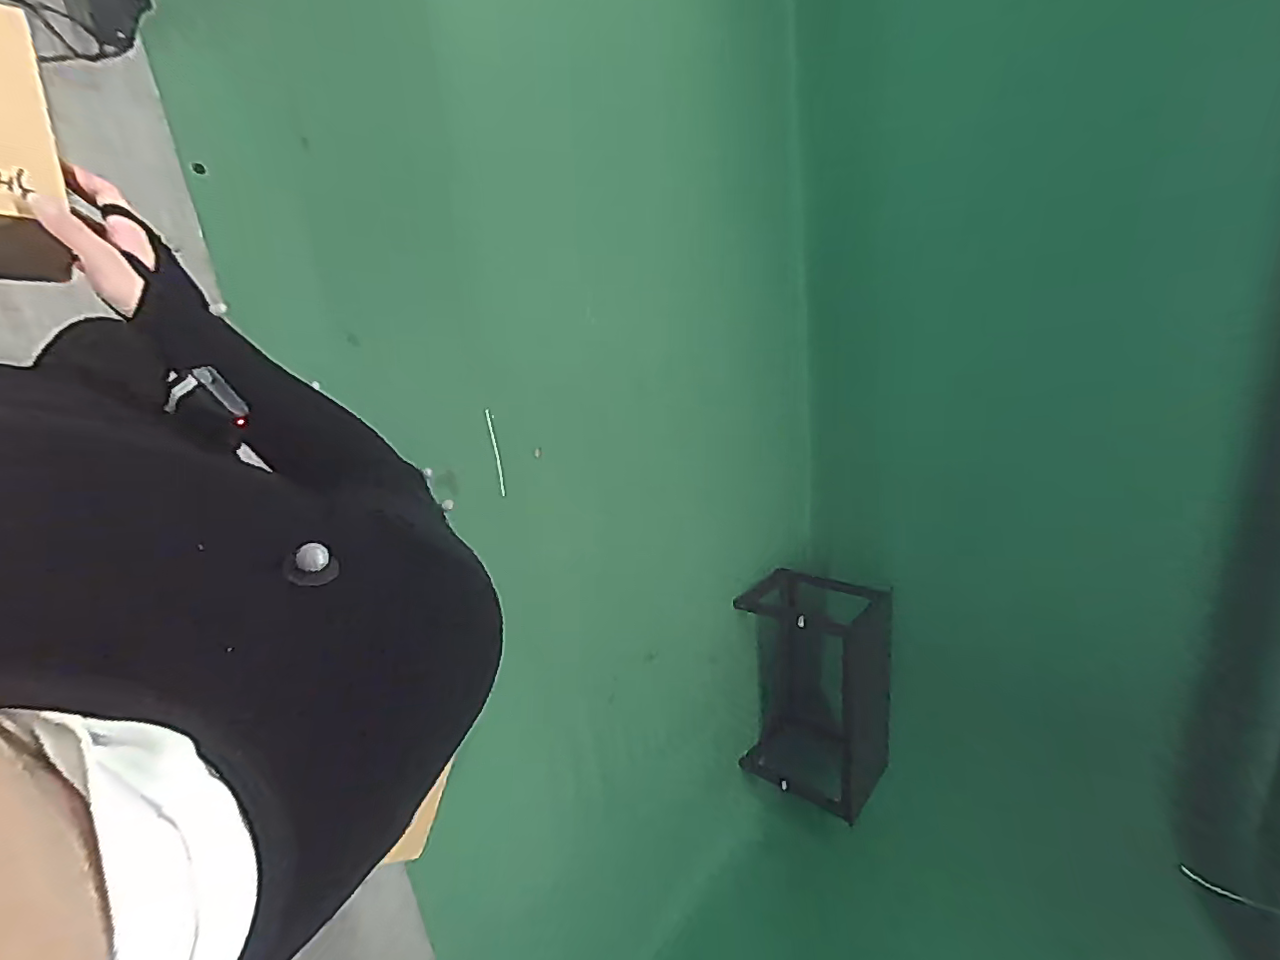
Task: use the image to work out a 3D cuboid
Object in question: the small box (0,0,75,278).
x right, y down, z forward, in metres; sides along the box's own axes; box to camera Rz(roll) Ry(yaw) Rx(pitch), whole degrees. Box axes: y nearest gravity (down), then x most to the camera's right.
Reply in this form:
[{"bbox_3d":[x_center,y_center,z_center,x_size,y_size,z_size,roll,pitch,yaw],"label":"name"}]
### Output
[{"bbox_3d":[-0.607,-0.289,0.450,0.168,0.176,0.179,-13,97,-46],"label":"small box"}]
